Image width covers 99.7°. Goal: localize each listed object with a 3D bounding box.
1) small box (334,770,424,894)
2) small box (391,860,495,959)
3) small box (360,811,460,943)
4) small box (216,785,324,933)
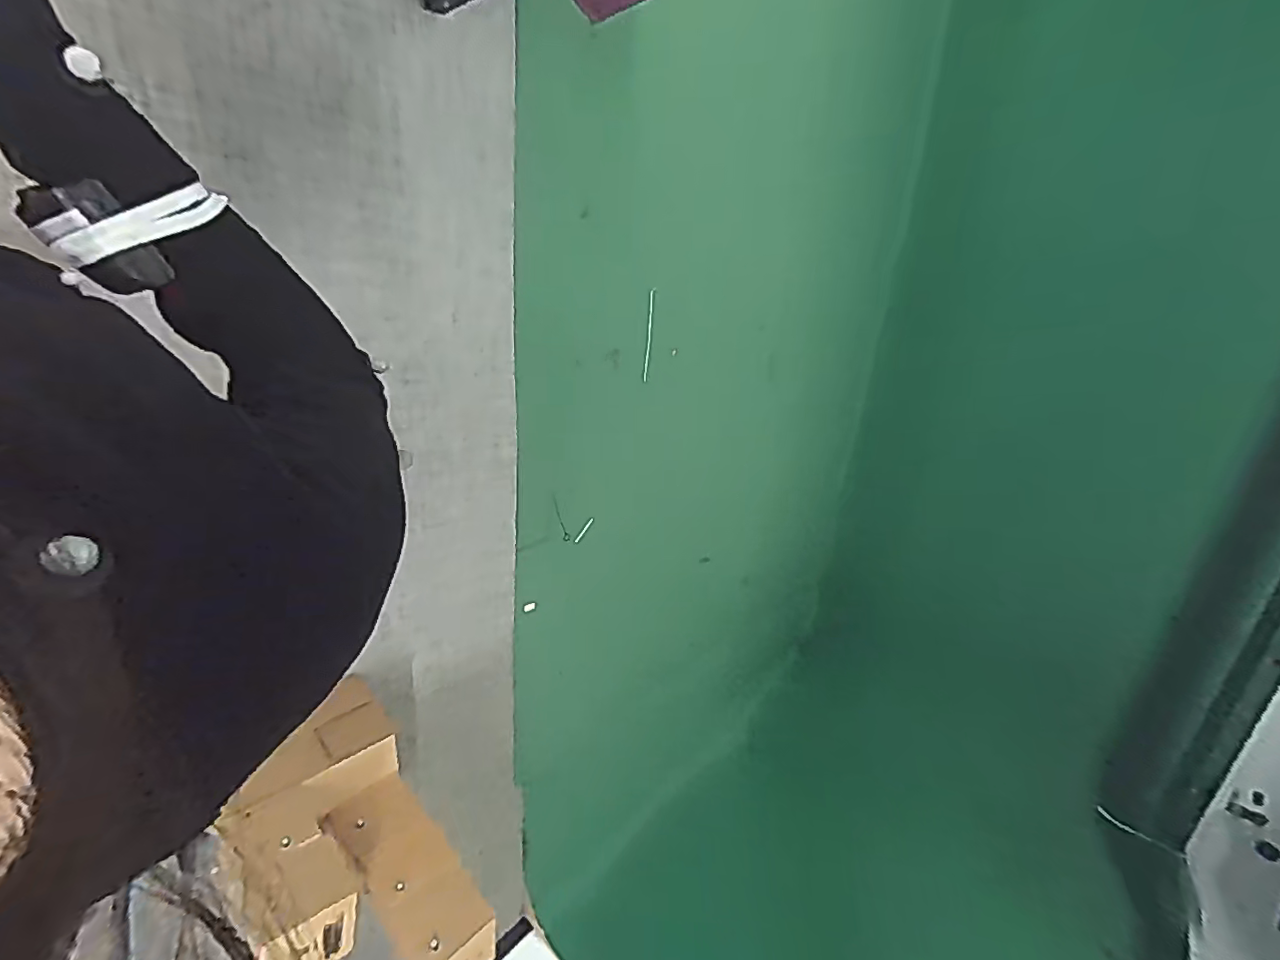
[{"bbox_3d":[-0.692,0.928,1.440,0.179,0.176,0.168,-20,124,-44],"label":"small box"},{"bbox_3d":[-0.456,1.042,1.244,0.179,0.176,0.168,-17,123,-45],"label":"small box"},{"bbox_3d":[-0.569,0.982,1.348,0.179,0.176,0.168,-18,123,-43],"label":"small box"},{"bbox_3d":[-0.834,0.844,1.222,0.168,0.176,0.179,-12,117,-46],"label":"small box"}]
